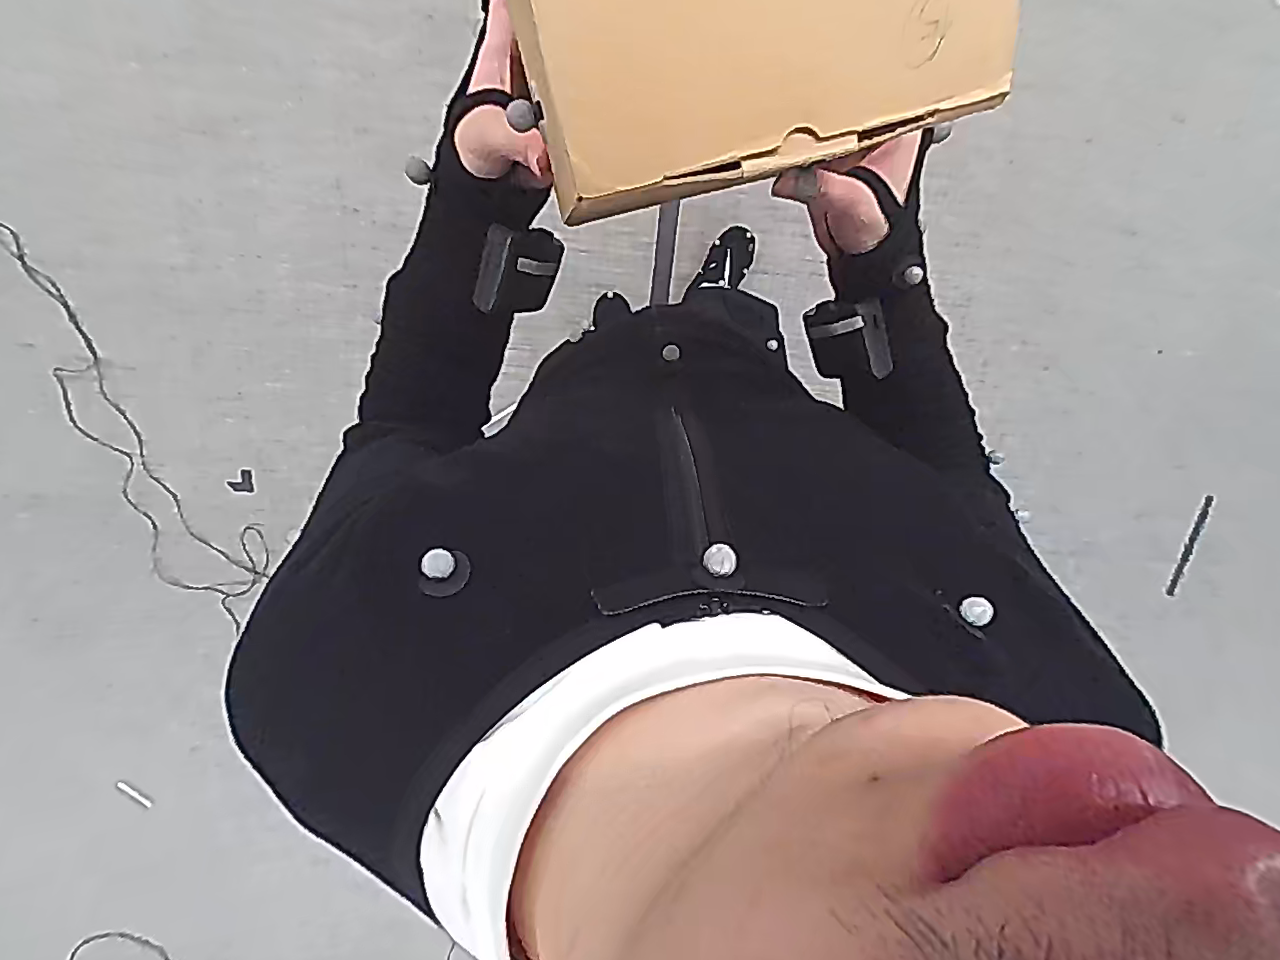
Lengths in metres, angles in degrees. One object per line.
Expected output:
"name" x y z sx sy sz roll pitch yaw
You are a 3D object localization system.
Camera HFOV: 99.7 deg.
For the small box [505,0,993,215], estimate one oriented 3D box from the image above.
"small box" 0.024 -0.229 0.242 0.168 0.176 0.179 -16 114 -4
